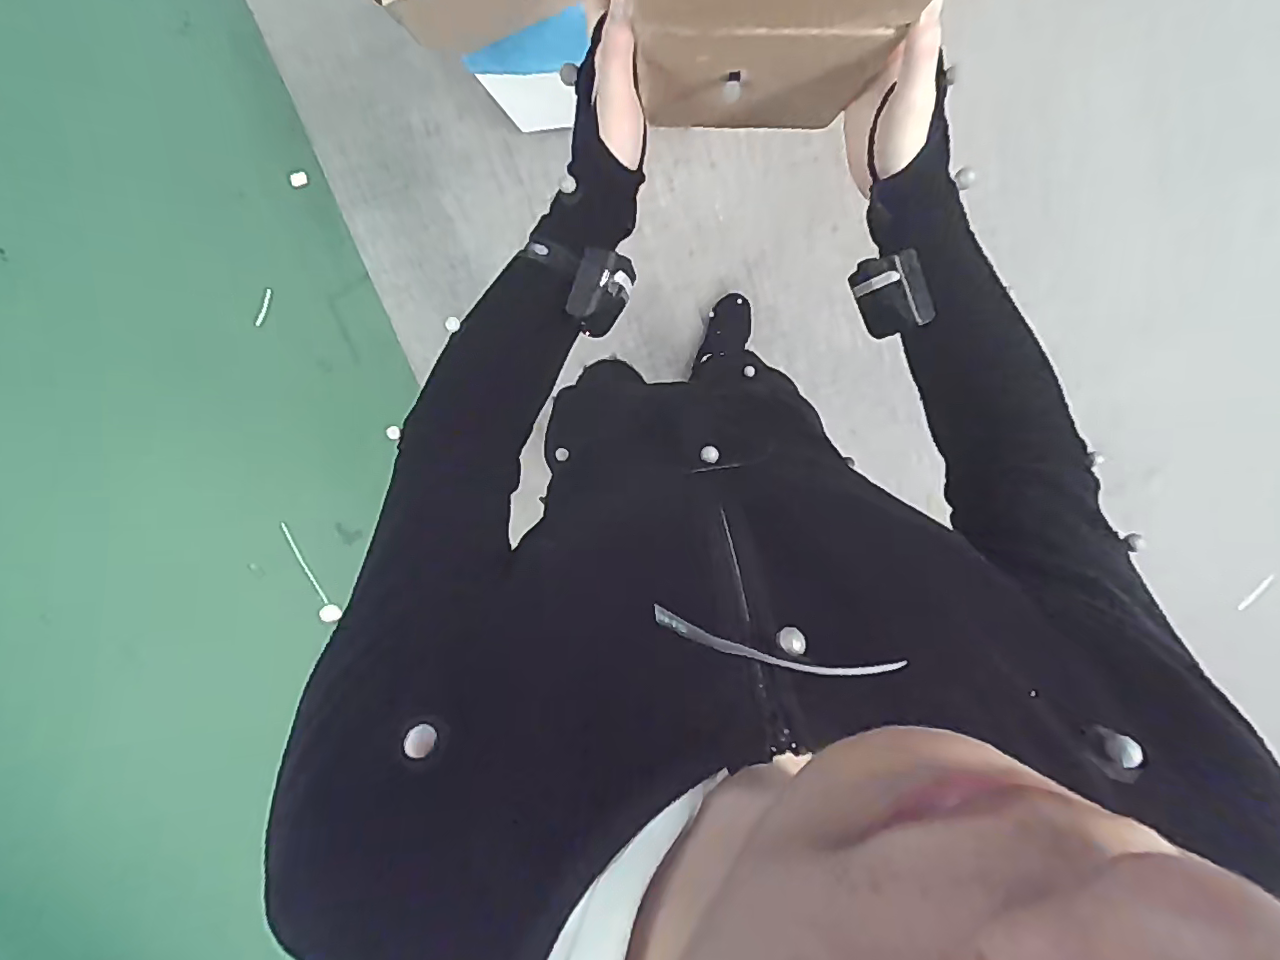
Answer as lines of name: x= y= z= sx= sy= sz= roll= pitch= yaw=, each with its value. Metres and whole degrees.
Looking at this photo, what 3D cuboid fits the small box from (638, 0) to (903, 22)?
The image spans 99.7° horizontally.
small box: x=0.079 y=-0.344 z=0.243 sx=0.179 sy=0.176 sz=0.168 roll=1 pitch=106 yaw=2
